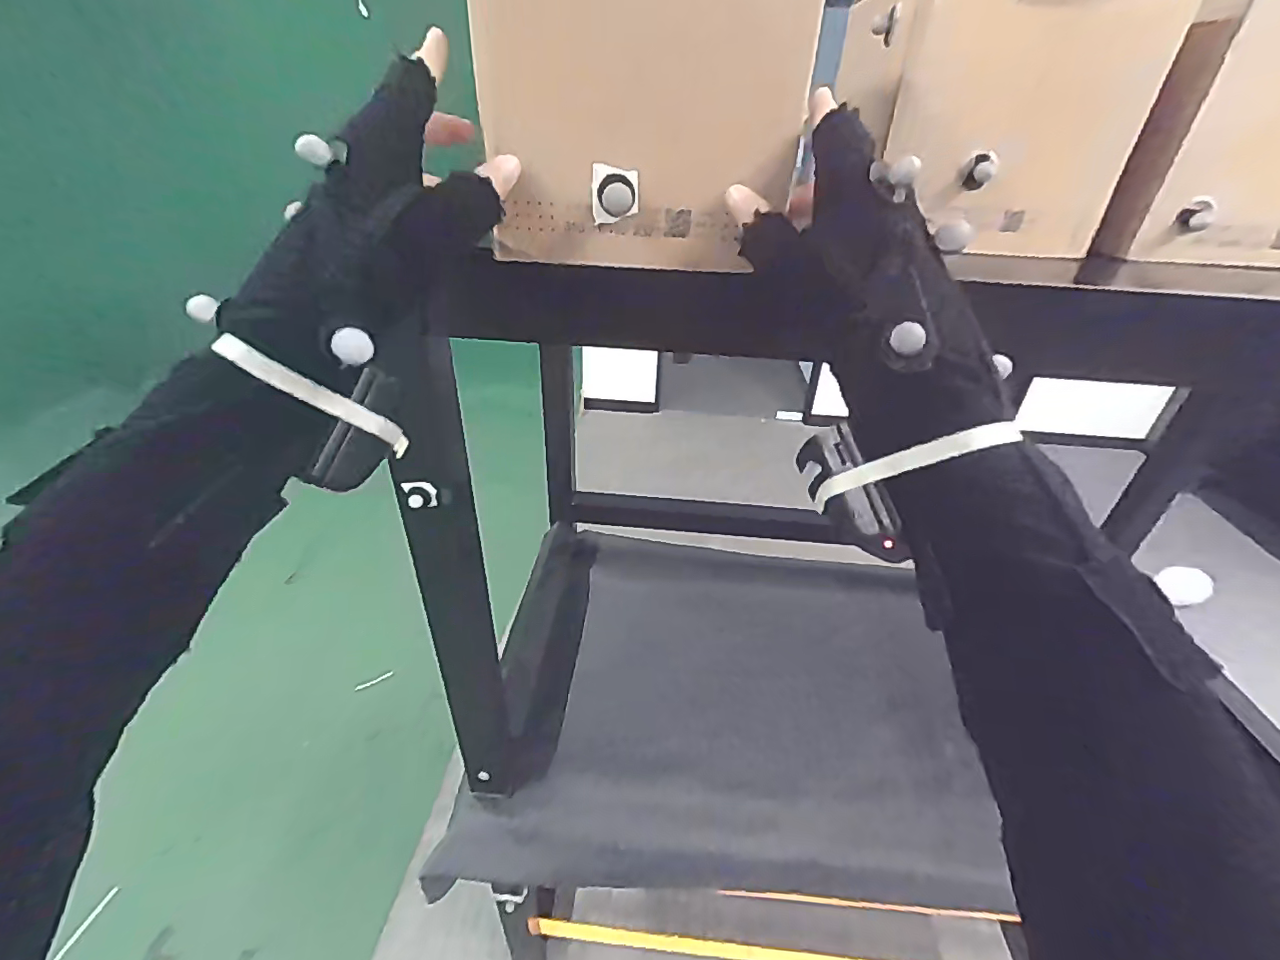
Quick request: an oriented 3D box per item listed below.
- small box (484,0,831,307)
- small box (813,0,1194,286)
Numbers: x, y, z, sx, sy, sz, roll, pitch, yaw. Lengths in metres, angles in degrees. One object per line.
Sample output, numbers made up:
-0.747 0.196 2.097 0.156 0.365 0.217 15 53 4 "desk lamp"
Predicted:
0.003 -0.221 0.347 0.168 0.176 0.179 1 34 -2 "small box"
0.252 -0.268 0.438 0.168 0.176 0.179 4 33 1 "small box"
